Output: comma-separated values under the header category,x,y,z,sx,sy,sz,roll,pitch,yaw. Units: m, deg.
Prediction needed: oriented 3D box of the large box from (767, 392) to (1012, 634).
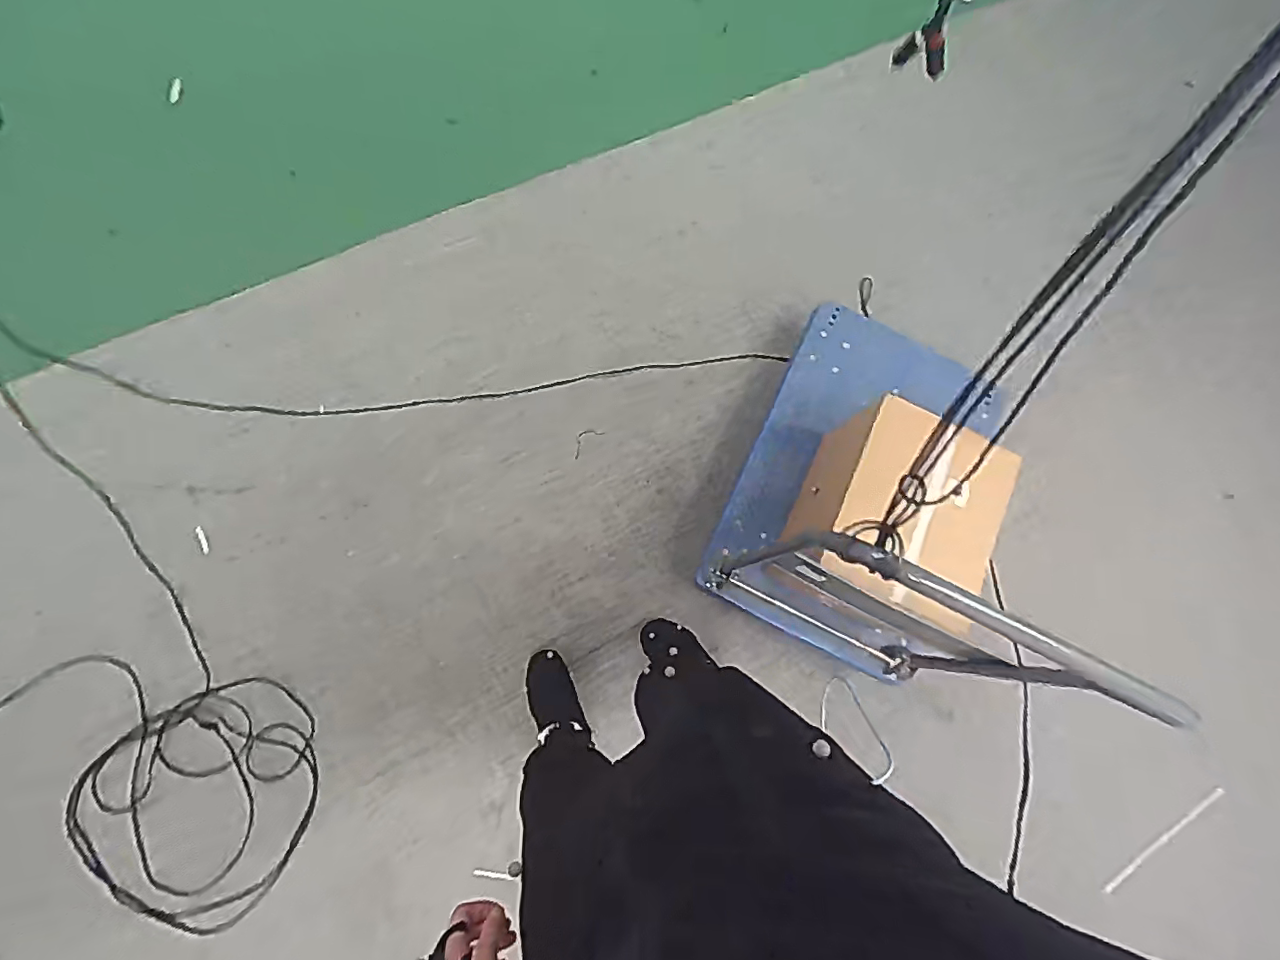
category,x,y,z,sx,sy,sz,roll,pitch,yaw
large box,0.532,0.089,1.208,0.320,0.320,0.408,27,76,0
